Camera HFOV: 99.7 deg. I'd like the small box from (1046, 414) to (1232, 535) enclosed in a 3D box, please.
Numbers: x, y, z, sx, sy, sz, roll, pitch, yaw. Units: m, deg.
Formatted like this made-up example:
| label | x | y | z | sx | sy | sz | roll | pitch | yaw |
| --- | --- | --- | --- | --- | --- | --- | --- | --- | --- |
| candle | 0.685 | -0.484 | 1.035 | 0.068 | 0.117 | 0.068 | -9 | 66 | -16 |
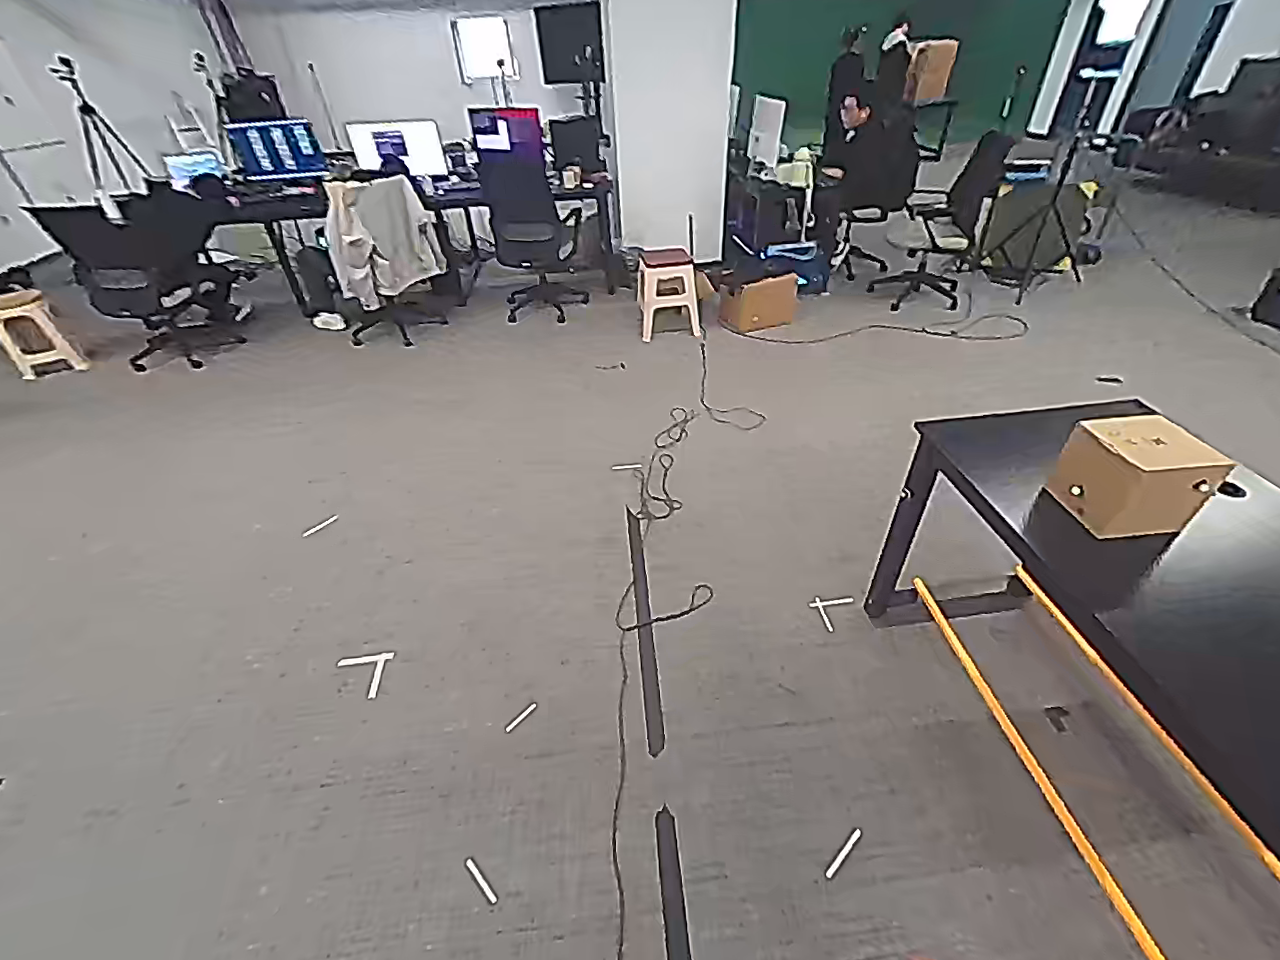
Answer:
| label | x | y | z | sx | sy | sz | roll | pitch | yaw |
| --- | --- | --- | --- | --- | --- | --- | --- | --- | --- |
| small box | 0.957 | -0.011 | 1.060 | 0.179 | 0.176 | 0.168 | -5 | 38 | -2 |
